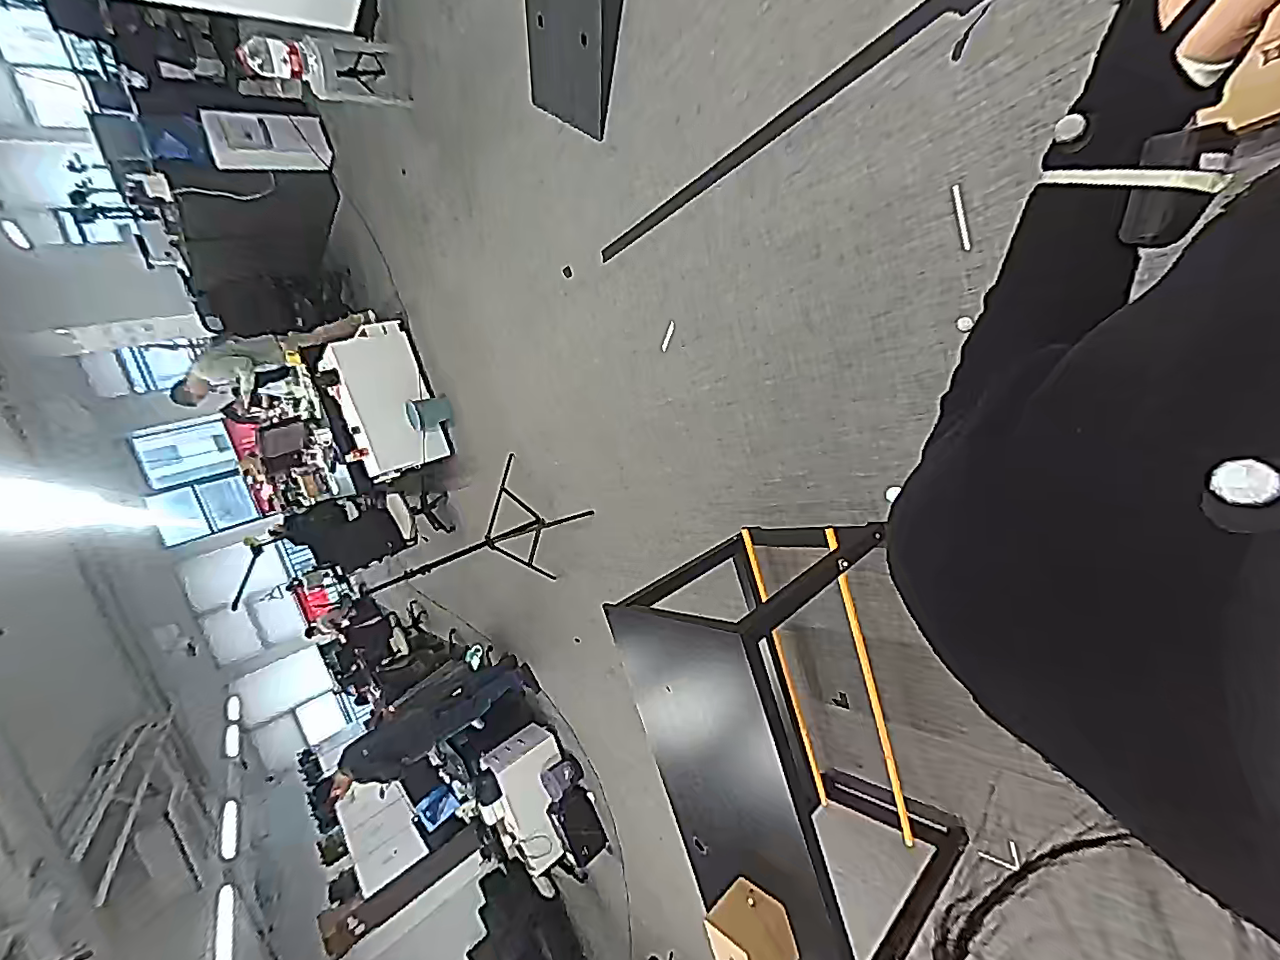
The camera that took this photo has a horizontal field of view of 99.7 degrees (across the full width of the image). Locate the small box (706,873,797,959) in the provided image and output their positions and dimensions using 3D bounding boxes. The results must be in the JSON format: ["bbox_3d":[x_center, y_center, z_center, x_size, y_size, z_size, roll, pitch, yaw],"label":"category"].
[{"bbox_3d":[0.319,1.280,1.531,0.168,0.176,0.179,-8,102,54],"label":"small box"}]
